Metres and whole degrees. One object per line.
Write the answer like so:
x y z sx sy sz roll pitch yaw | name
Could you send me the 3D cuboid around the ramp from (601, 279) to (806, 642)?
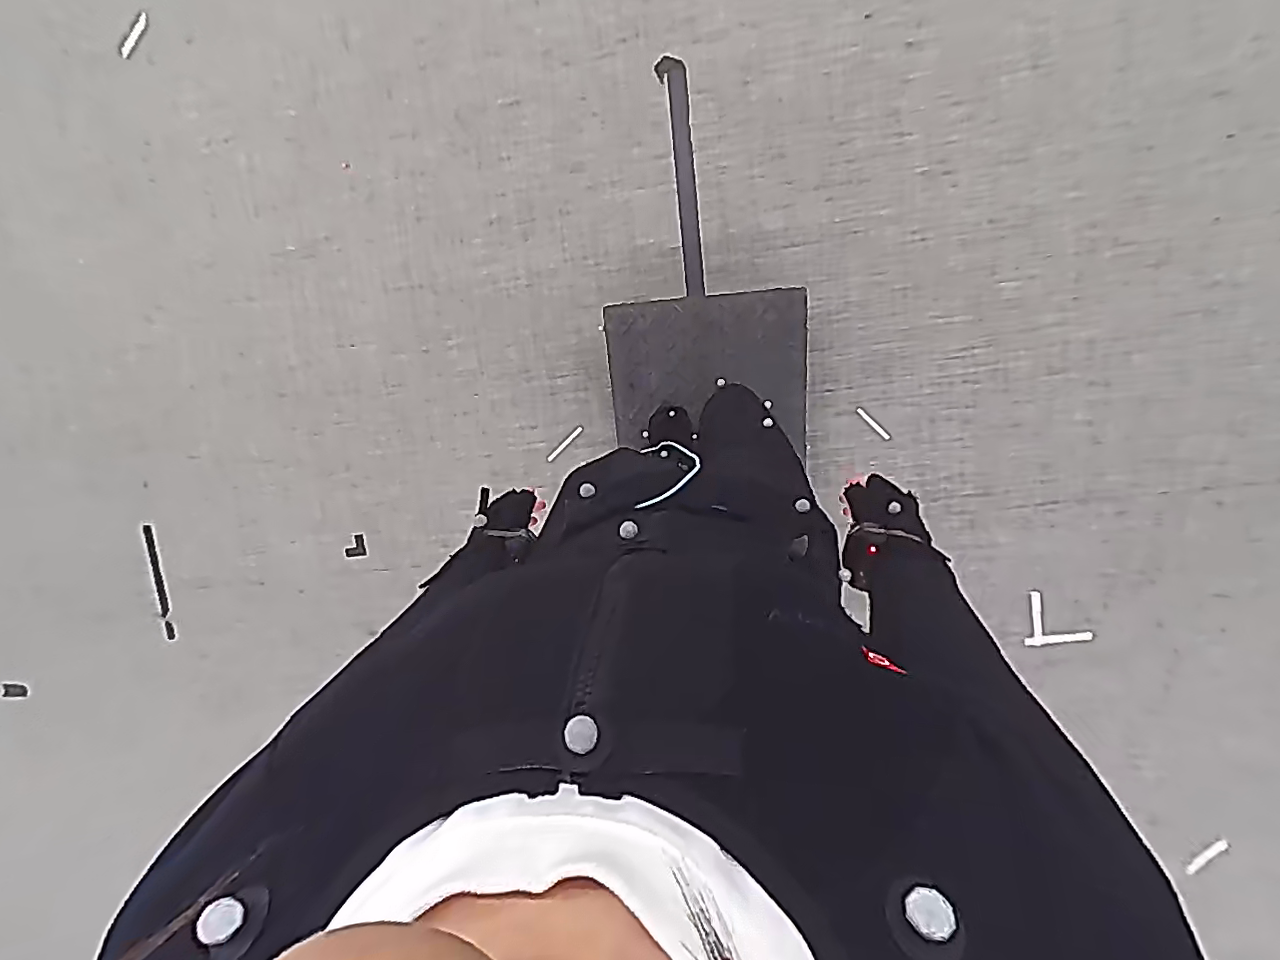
0.195 0.009 1.455 0.509 0.206 0.991 -5 100 6 | ramp
